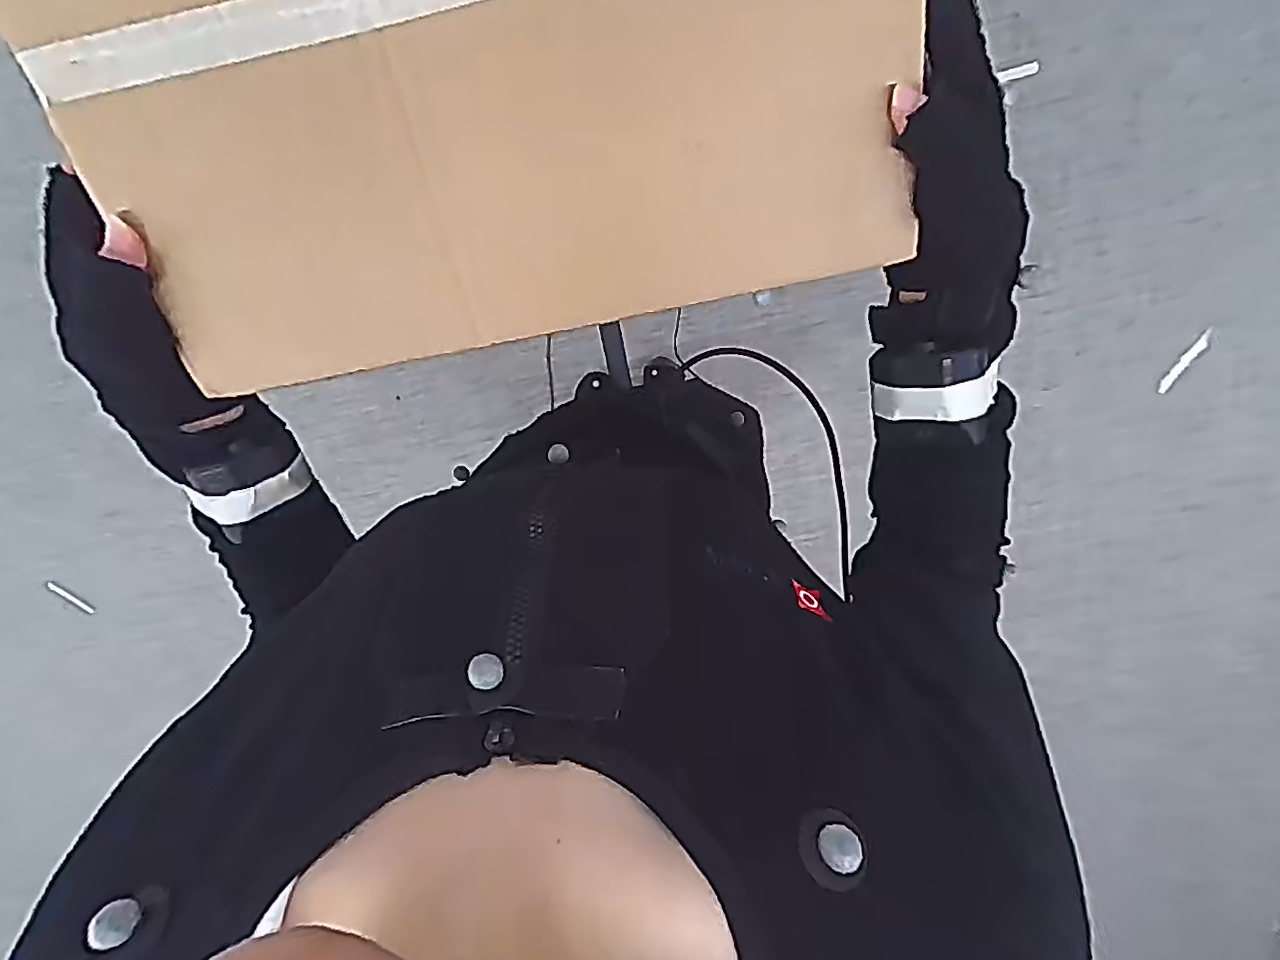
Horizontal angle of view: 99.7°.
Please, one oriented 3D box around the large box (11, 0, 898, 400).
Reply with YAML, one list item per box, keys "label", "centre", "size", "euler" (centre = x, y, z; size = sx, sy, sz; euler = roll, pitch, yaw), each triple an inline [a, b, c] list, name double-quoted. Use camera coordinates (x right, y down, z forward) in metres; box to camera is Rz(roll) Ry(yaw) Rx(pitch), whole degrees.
- label: "large box"
  centre: [-0.083, -0.283, 0.383]
  size: [0.408, 0.320, 0.320]
  euler: [-10, 114, 4]
